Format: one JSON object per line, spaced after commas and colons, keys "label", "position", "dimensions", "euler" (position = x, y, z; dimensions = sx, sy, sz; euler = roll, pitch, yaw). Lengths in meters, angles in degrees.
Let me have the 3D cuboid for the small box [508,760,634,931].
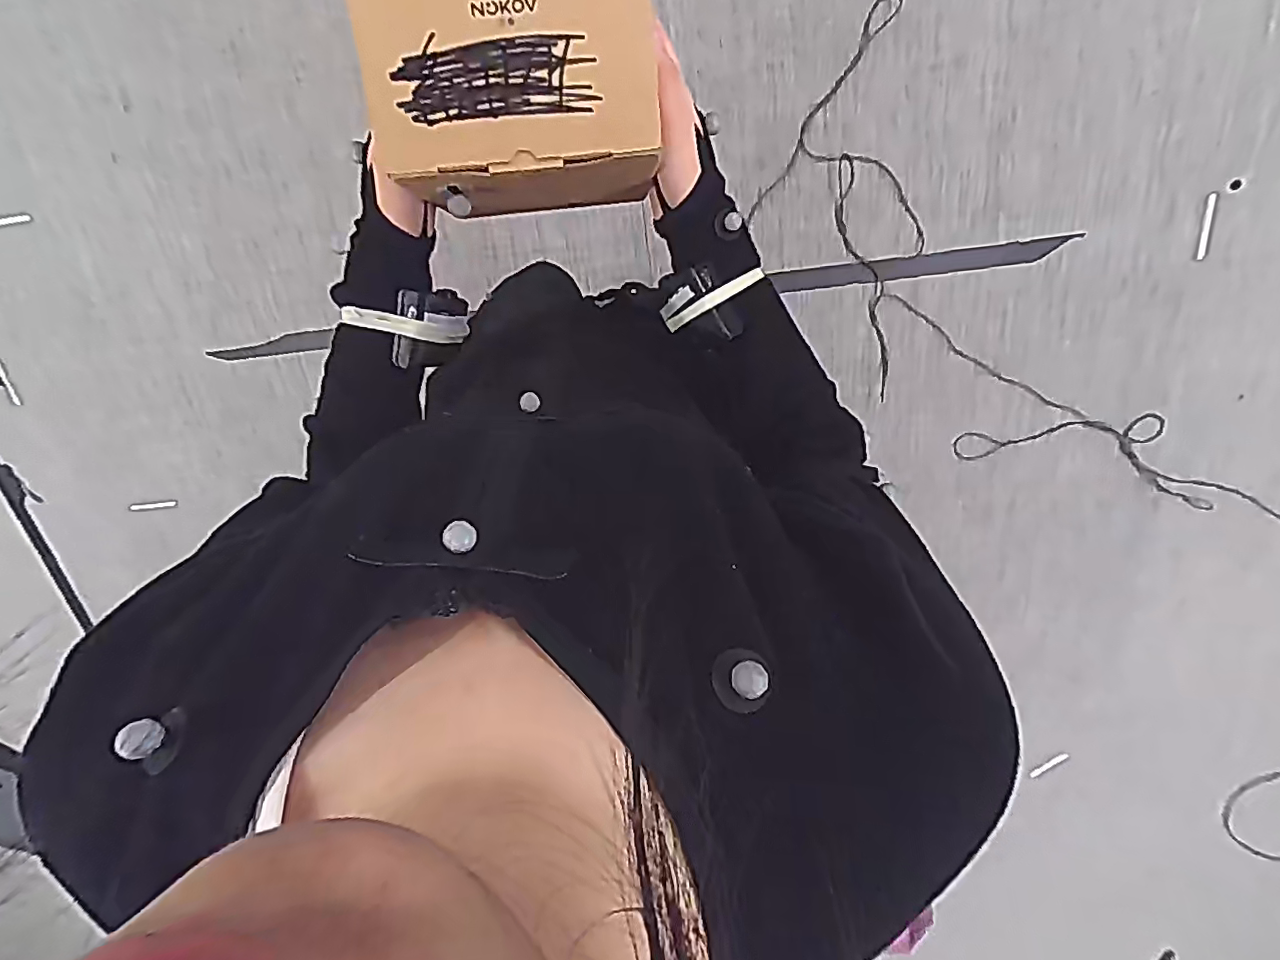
{"label": "small box", "position": [-0.100, 0.591, 0.884], "dimensions": [0.168, 0.176, 0.179], "euler": [-4, 111, 4]}
